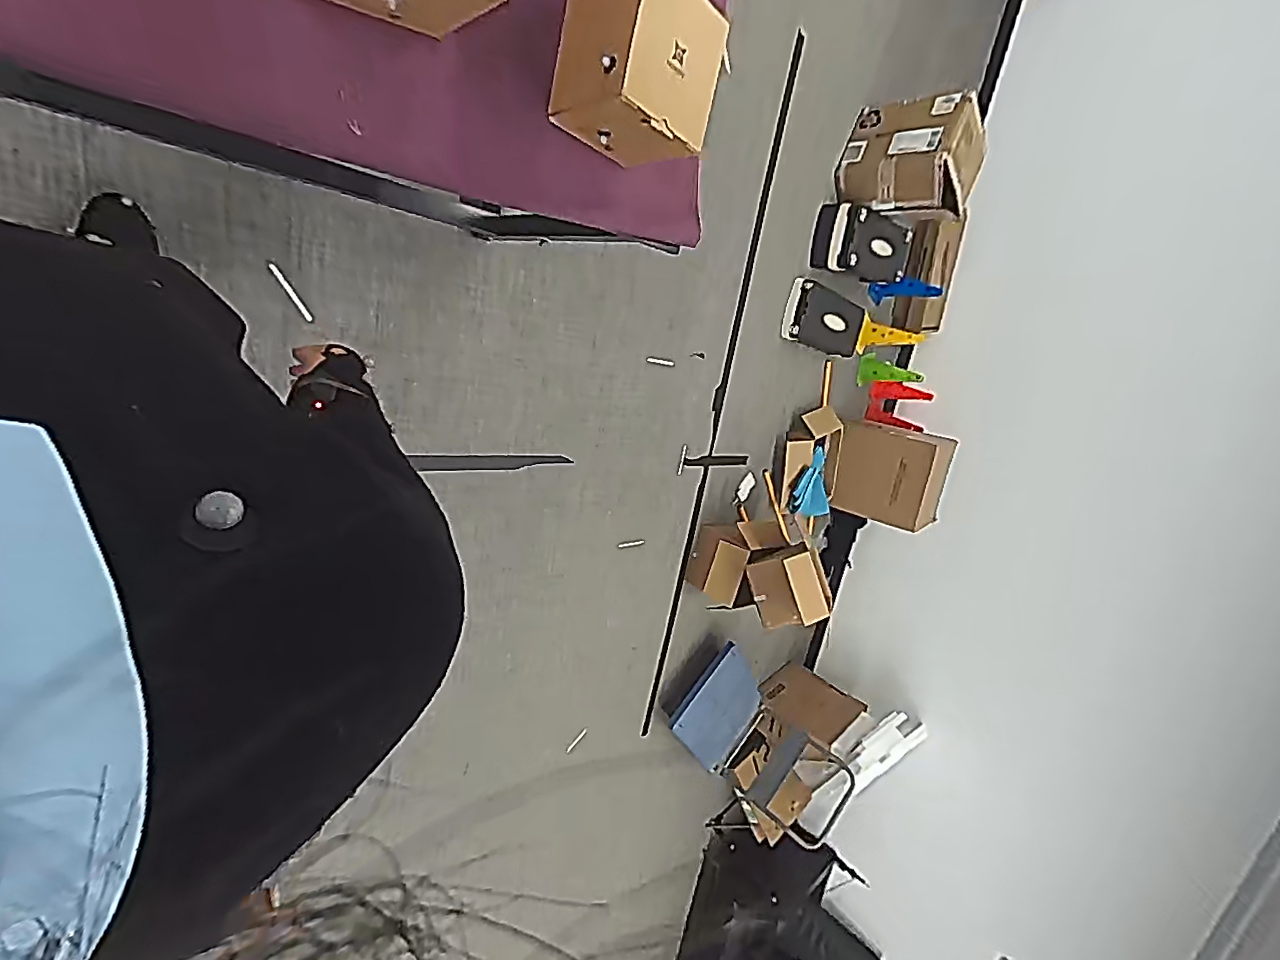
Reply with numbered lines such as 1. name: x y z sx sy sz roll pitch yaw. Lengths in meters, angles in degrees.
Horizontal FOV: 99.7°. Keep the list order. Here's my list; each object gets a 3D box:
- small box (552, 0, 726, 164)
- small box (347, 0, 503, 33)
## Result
1. small box: -0.006 -0.585 0.778 0.168 0.176 0.179 2 106 -46
2. small box: -0.246 -0.582 0.529 0.168 0.176 0.179 -15 118 -42
